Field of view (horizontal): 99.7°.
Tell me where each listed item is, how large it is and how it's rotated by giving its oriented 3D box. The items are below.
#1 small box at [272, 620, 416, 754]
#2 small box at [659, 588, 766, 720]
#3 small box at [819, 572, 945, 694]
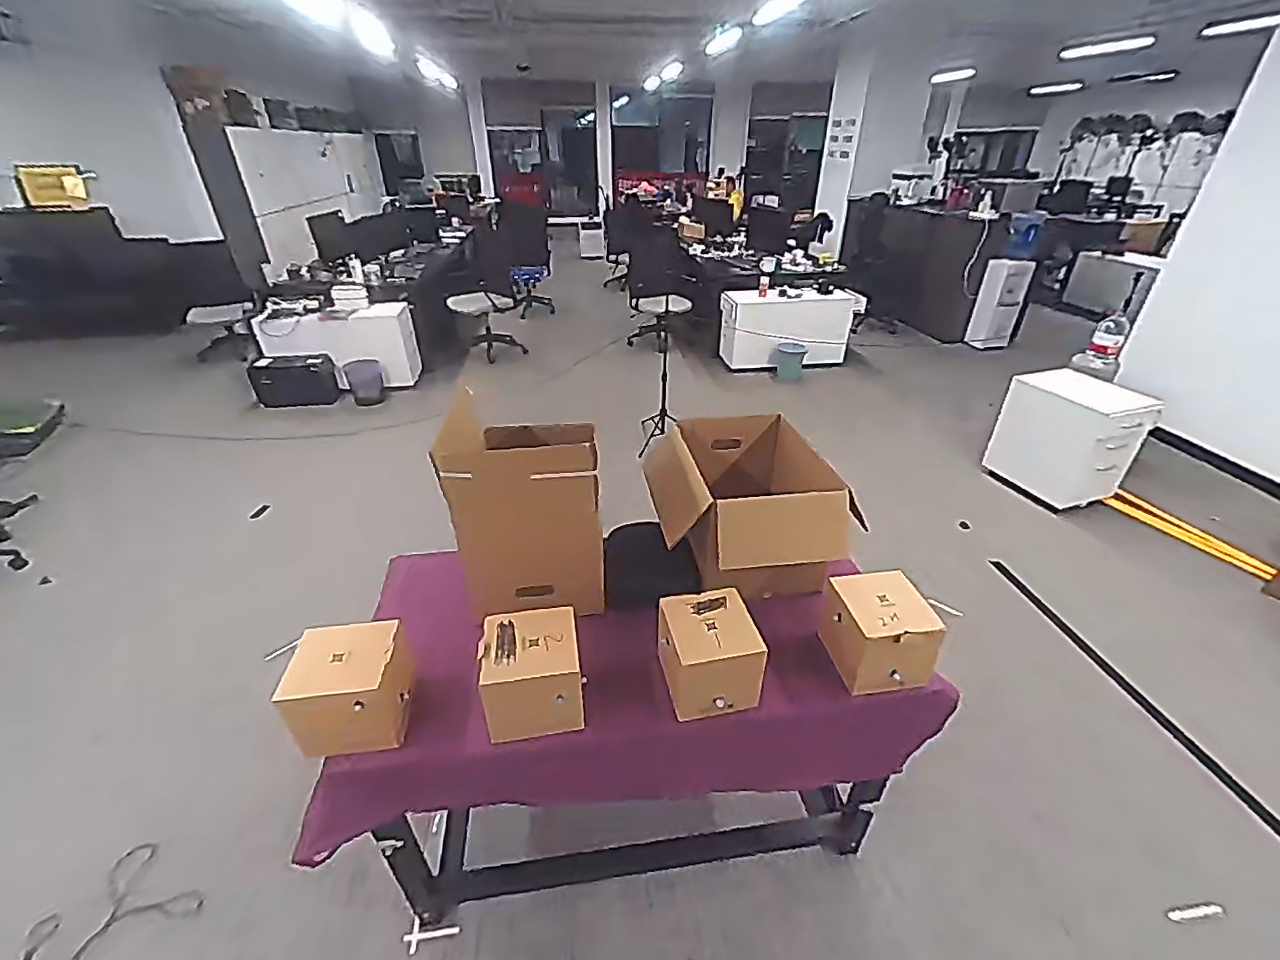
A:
[{"bbox_3d":[-0.544,0.391,1.022,0.179,0.176,0.168,-4,31,-8],"label":"small box"},{"bbox_3d":[0.135,0.347,1.089,0.168,0.176,0.179,-7,33,-9],"label":"small box"},{"bbox_3d":[0.492,0.317,1.131,0.168,0.176,0.179,-5,31,-5],"label":"small box"}]
